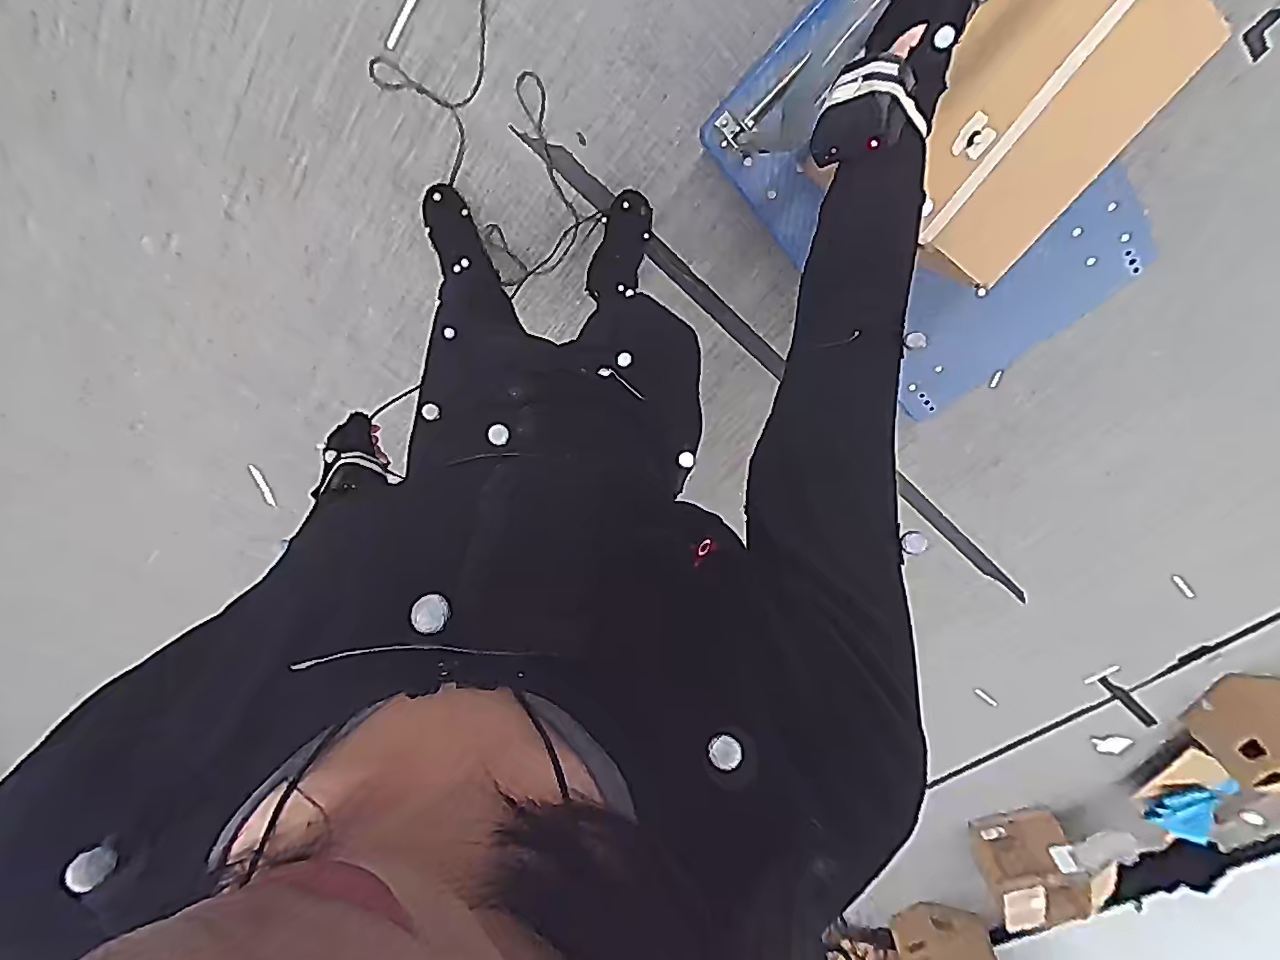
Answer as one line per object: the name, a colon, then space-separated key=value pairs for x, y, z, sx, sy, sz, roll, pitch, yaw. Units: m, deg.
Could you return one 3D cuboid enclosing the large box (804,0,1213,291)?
large box: x=0.552 y=-0.610 z=0.905 sx=0.320 sy=0.320 sz=0.408 roll=28 pitch=119 yaw=-16
